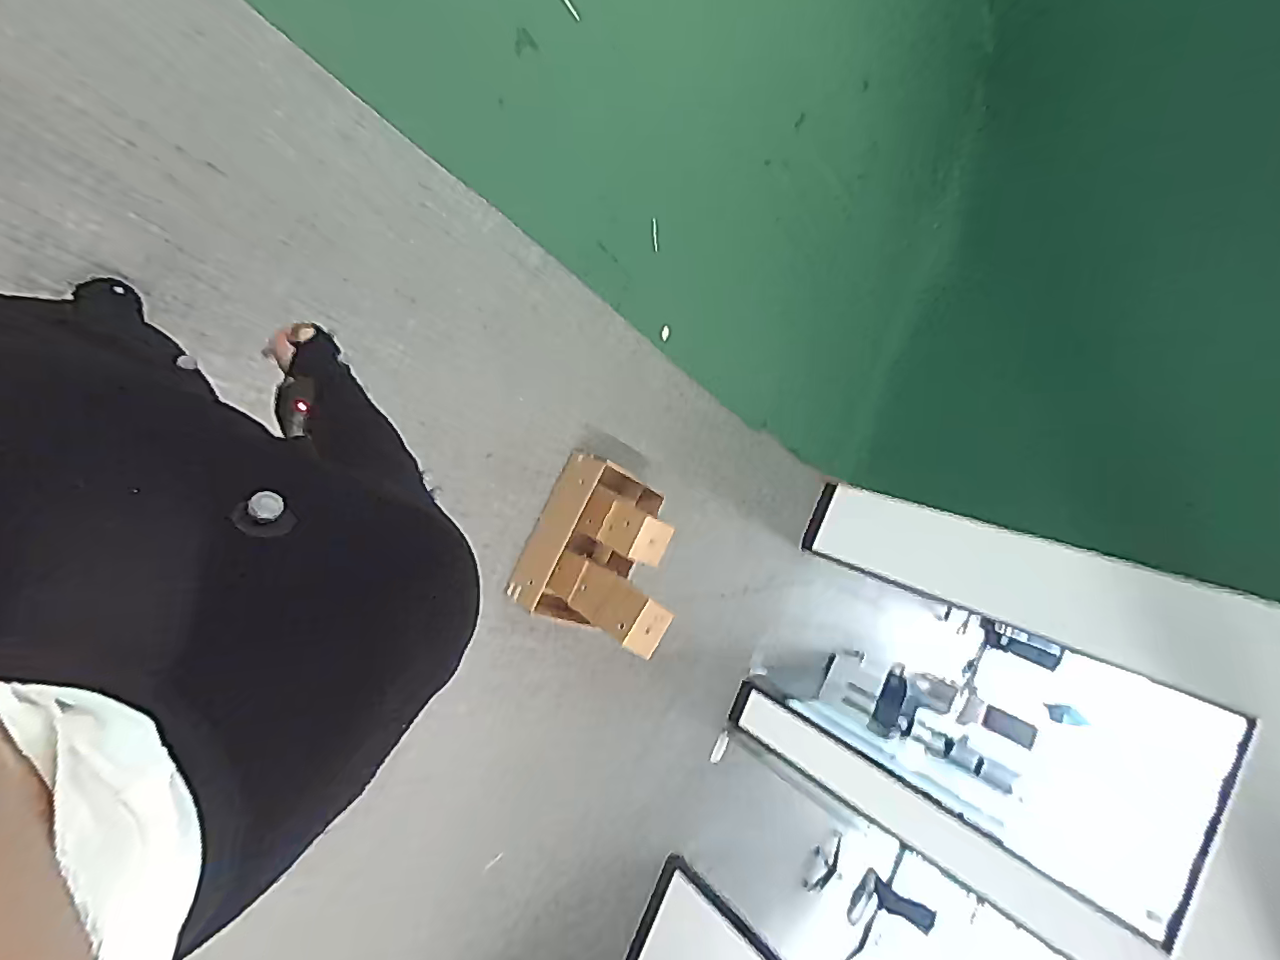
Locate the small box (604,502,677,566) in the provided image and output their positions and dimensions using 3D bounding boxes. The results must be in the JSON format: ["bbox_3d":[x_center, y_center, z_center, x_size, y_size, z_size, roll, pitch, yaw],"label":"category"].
[{"bbox_3d":[-0.004,0.194,1.991,0.179,0.176,0.168,26,88,-46],"label":"small box"}]

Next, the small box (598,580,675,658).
[{"bbox_3d":[-0.018,0.469,1.836,0.168,0.176,0.179,44,73,-42],"label":"small box"}]

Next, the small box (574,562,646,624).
[{"bbox_3d":[-0.115,0.424,1.963,0.168,0.176,0.179,33,81,-44],"label":"small box"}]
